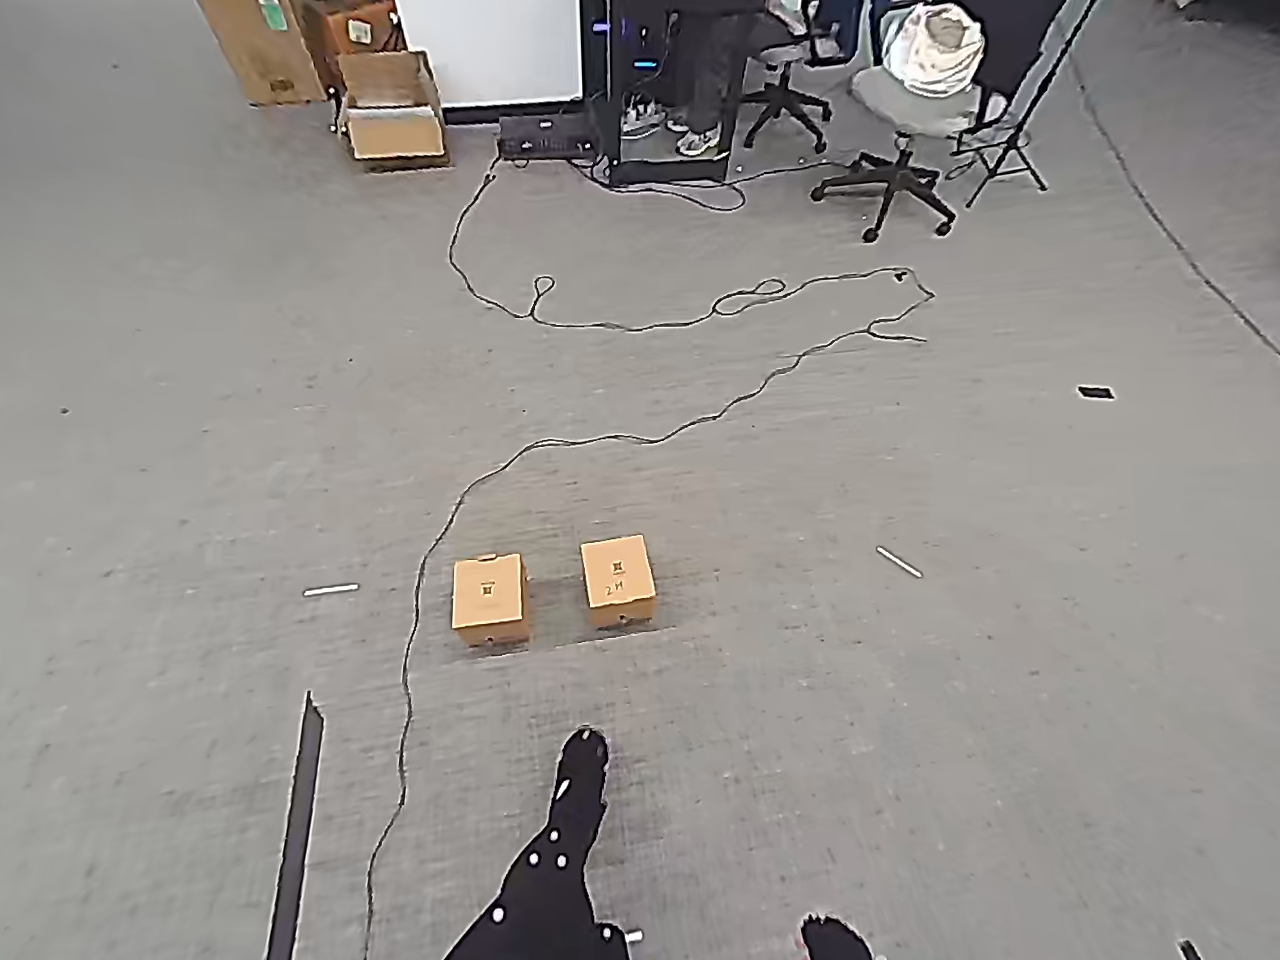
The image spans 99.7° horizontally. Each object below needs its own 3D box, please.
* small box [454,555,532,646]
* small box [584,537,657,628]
[{"bbox_3d":[-0.373,0.313,1.394,0.168,0.176,0.179,-5,59,-5],"label":"small box"},{"bbox_3d":[-0.057,0.273,1.432,0.168,0.176,0.179,-8,59,-7],"label":"small box"}]
